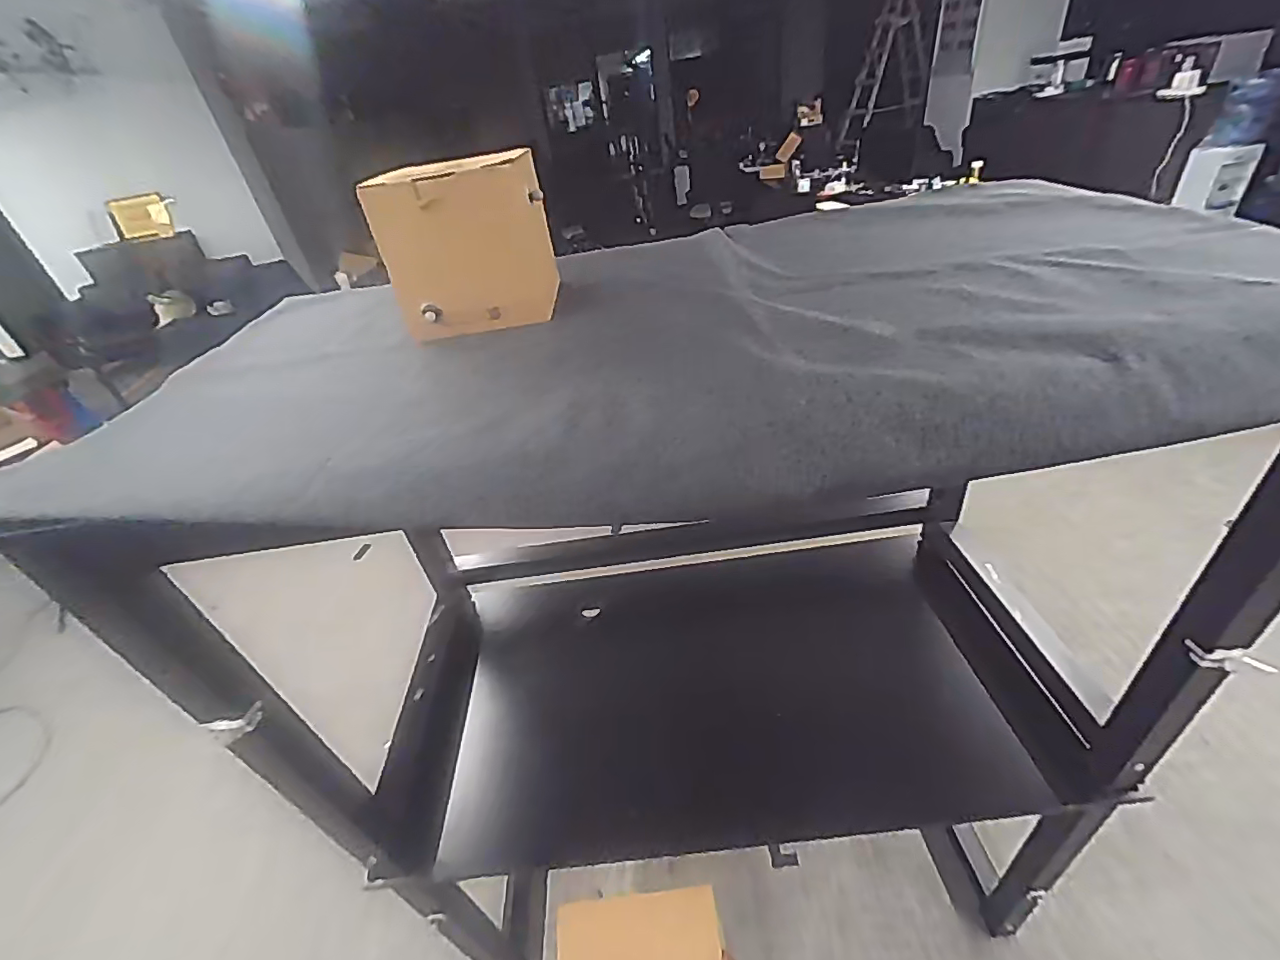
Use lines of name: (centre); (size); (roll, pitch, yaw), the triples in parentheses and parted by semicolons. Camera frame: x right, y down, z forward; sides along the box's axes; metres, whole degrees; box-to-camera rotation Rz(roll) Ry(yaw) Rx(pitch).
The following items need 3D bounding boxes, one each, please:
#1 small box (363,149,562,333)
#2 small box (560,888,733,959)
small box: (-0.197, -0.289, 0.663); (0.168, 0.176, 0.179); (-8, 35, 3)
small box: (0.018, 0.563, 0.574); (0.179, 0.176, 0.168); (-10, 39, 3)
